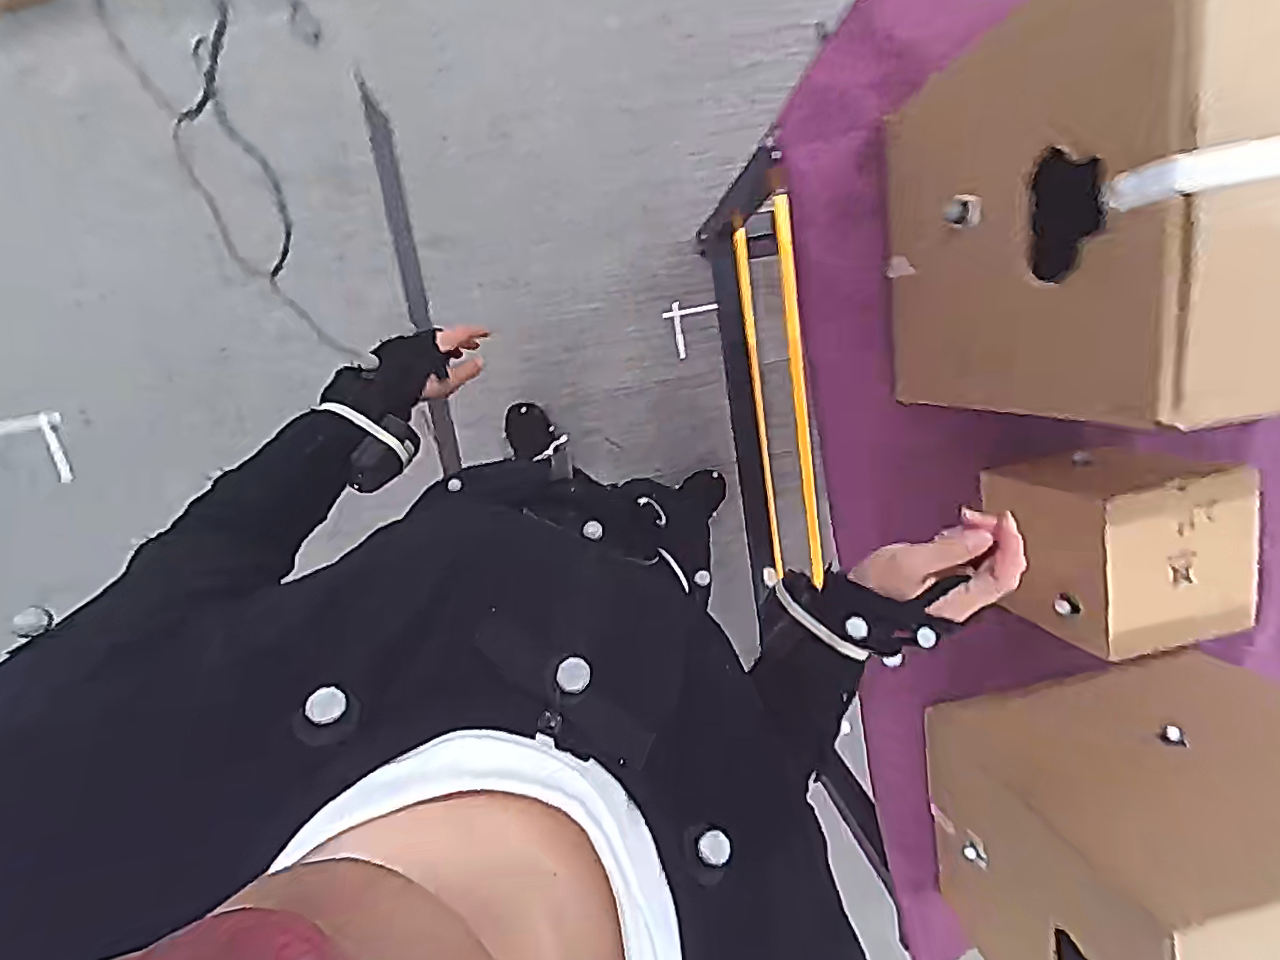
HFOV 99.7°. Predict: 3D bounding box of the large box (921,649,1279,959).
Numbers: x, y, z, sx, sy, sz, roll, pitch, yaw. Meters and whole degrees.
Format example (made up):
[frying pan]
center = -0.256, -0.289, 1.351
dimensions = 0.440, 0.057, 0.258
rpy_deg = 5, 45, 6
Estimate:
[large box]
center = 0.606, 0.436, 0.613
dimensions = 0.408, 0.320, 0.320
rpy_deg = -11, 101, -5
